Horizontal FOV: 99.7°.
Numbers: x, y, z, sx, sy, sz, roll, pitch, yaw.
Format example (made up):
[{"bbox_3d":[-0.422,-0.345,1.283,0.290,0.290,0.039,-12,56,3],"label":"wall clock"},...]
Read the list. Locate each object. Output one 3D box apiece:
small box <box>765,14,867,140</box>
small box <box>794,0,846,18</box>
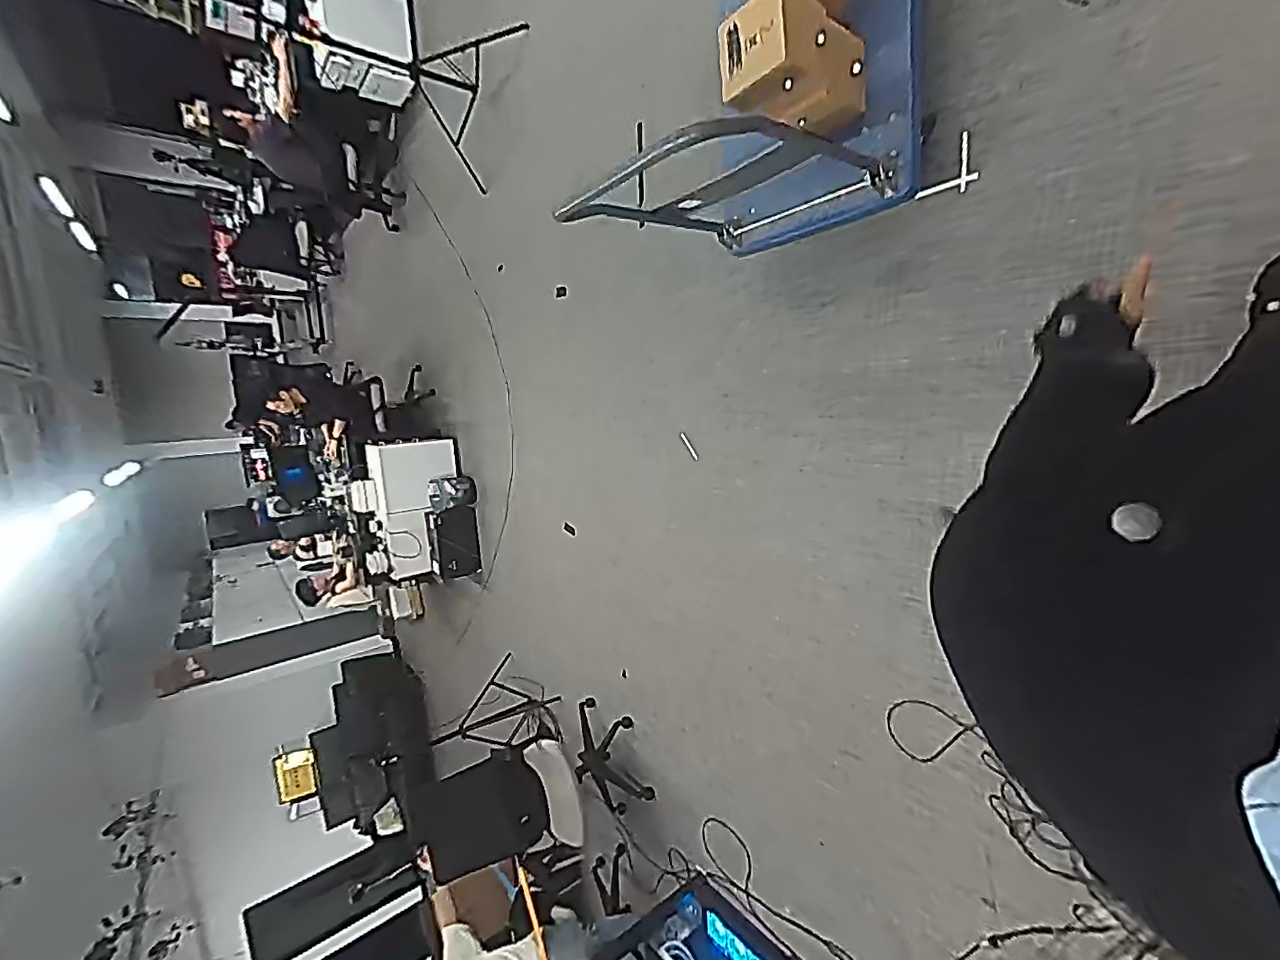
[{"bbox_3d":[0.428,-0.963,1.316,0.179,0.176,0.168,4,102,52],"label":"small box"},{"bbox_3d":[0.436,-1.228,1.248,0.179,0.176,0.168,6,103,52],"label":"small box"}]
